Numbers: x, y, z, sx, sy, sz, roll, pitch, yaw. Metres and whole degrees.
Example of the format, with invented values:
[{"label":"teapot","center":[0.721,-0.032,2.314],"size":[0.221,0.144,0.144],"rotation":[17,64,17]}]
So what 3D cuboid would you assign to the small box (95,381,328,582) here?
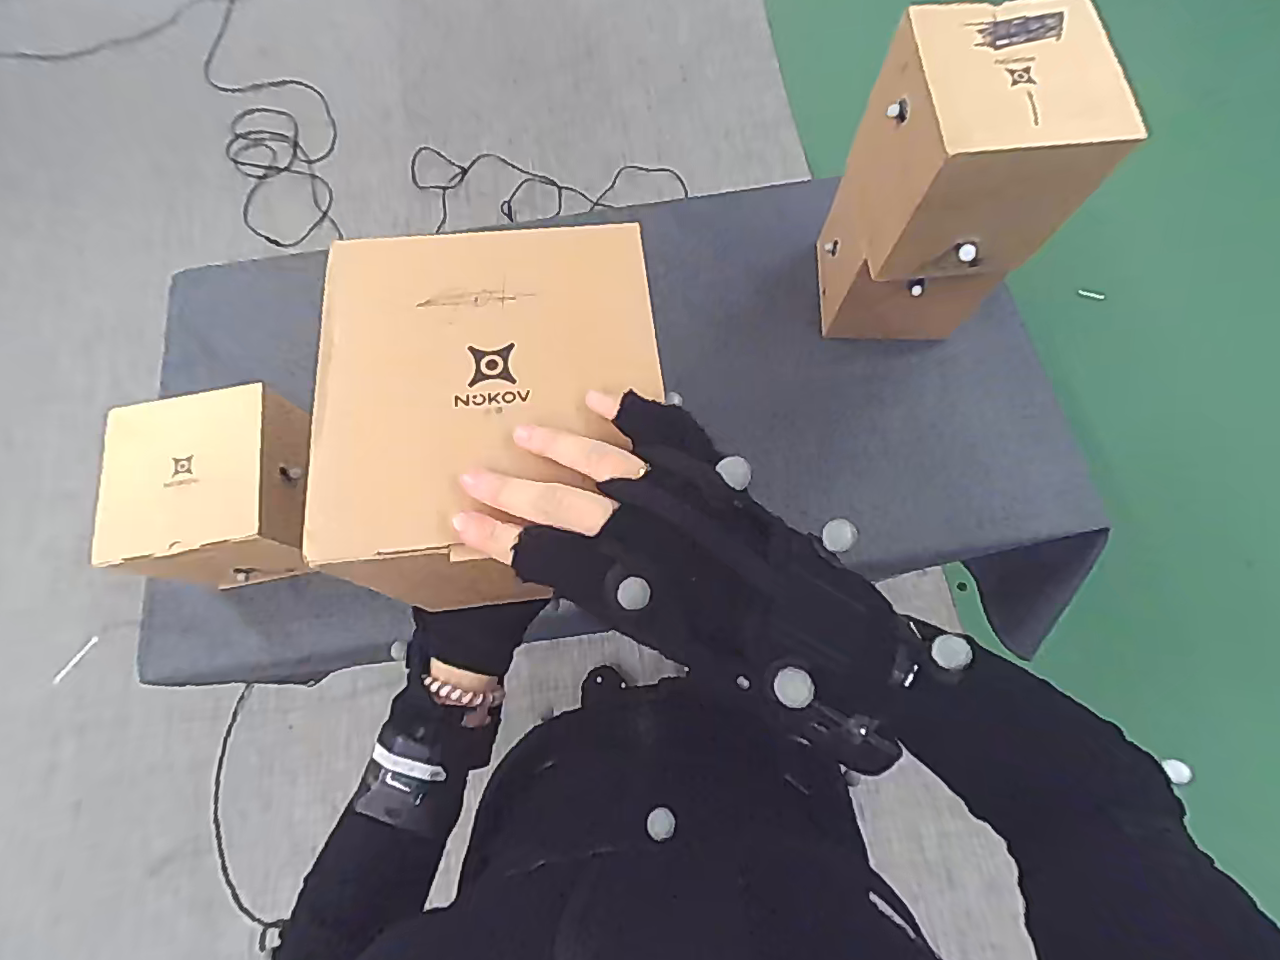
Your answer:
[{"label":"small box","center":[-0.466,0.011,0.633],"size":[0.168,0.176,0.179],"rotation":[-11,73,-2]}]

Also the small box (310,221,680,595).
[{"label":"small box","center":[-0.072,-0.027,0.338],"size":[0.168,0.176,0.179],"rotation":[-5,70,-5]}]

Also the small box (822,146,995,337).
[{"label":"small box","center":[0.344,-0.302,0.706],"size":[0.179,0.176,0.168],"rotation":[3,73,2]}]

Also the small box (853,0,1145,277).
[{"label":"small box","center":[0.332,-0.333,0.545],"size":[0.168,0.176,0.179],"rotation":[-4,74,1]}]
